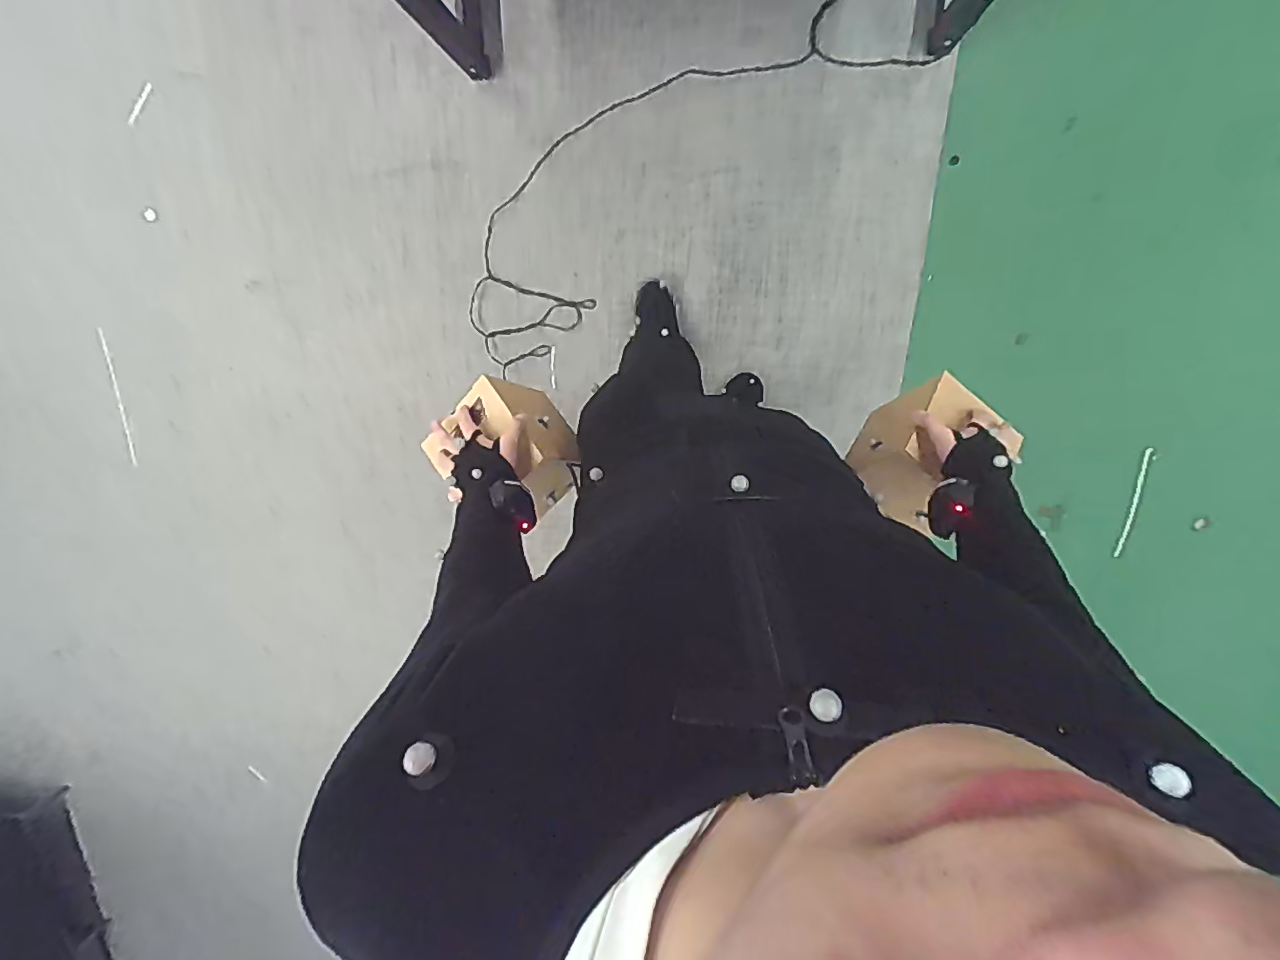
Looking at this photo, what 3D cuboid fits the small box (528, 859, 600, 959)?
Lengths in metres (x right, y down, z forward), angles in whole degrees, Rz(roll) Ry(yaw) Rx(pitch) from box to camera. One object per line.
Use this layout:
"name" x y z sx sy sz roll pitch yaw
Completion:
"small box" -0.209 1.209 1.503 0.168 0.176 0.179 6 105 5

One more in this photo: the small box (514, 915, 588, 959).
"small box" -0.228 1.246 1.347 0.168 0.176 0.179 5 104 6

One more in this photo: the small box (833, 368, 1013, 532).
"small box" 0.444 -0.038 0.870 0.168 0.176 0.179 39 67 -4

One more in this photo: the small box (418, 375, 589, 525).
"small box" -0.220 -0.043 0.898 0.168 0.176 0.179 -44 74 17
